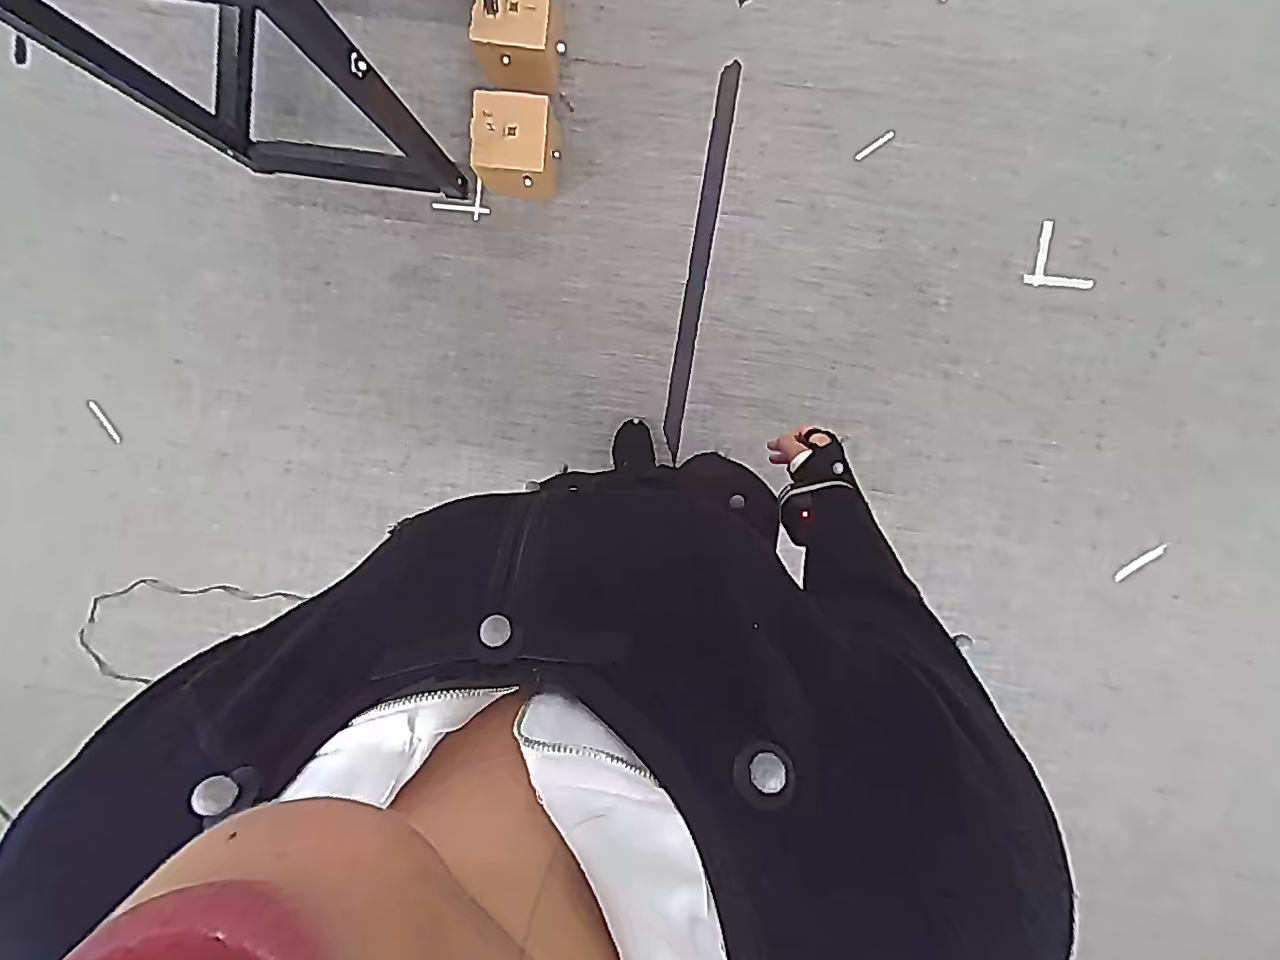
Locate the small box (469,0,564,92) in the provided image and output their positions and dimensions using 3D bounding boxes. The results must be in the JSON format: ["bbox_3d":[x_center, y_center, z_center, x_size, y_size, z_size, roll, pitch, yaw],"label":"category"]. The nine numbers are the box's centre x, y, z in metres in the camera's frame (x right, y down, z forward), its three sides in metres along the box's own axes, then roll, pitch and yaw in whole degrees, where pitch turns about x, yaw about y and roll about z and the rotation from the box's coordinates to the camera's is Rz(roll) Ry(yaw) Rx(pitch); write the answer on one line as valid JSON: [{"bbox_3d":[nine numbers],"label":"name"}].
[{"bbox_3d":[-0.289,-1.066,1.291,0.179,0.176,0.168,7,98,0],"label":"small box"}]
